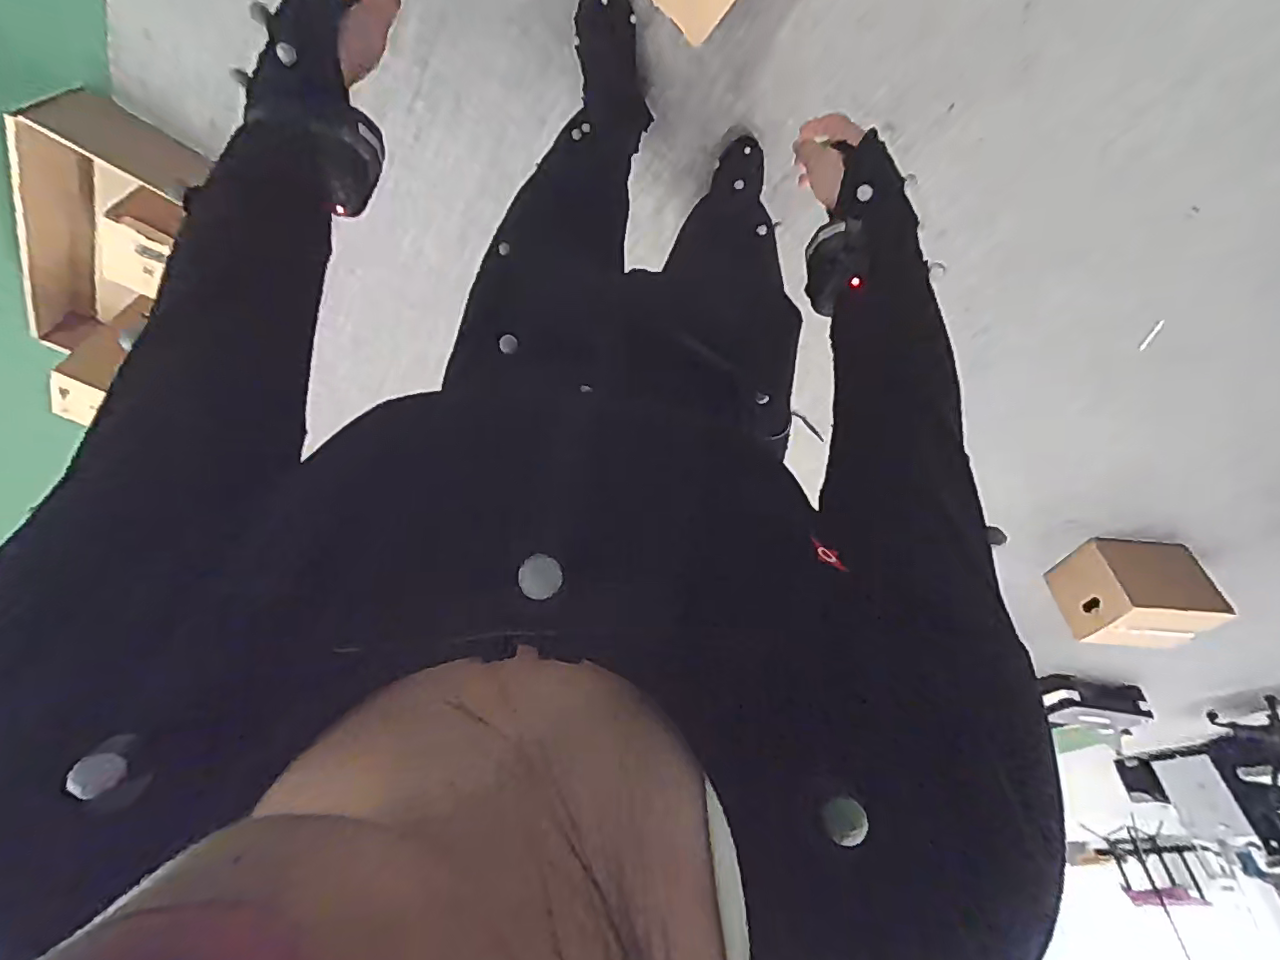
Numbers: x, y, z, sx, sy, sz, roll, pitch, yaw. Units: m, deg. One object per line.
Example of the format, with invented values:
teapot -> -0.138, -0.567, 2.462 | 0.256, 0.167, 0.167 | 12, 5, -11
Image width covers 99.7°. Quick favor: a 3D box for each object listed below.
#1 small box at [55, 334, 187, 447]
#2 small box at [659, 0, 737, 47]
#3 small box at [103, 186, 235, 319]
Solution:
small box -> -1.227, -0.214, 1.288 | 0.179, 0.176, 0.168 | 27, 134, -29
small box -> 0.094, -0.839, 0.840 | 0.168, 0.176, 0.179 | 30, 132, -29
small box -> -1.029, -0.503, 1.192 | 0.168, 0.176, 0.179 | 26, 135, -27
